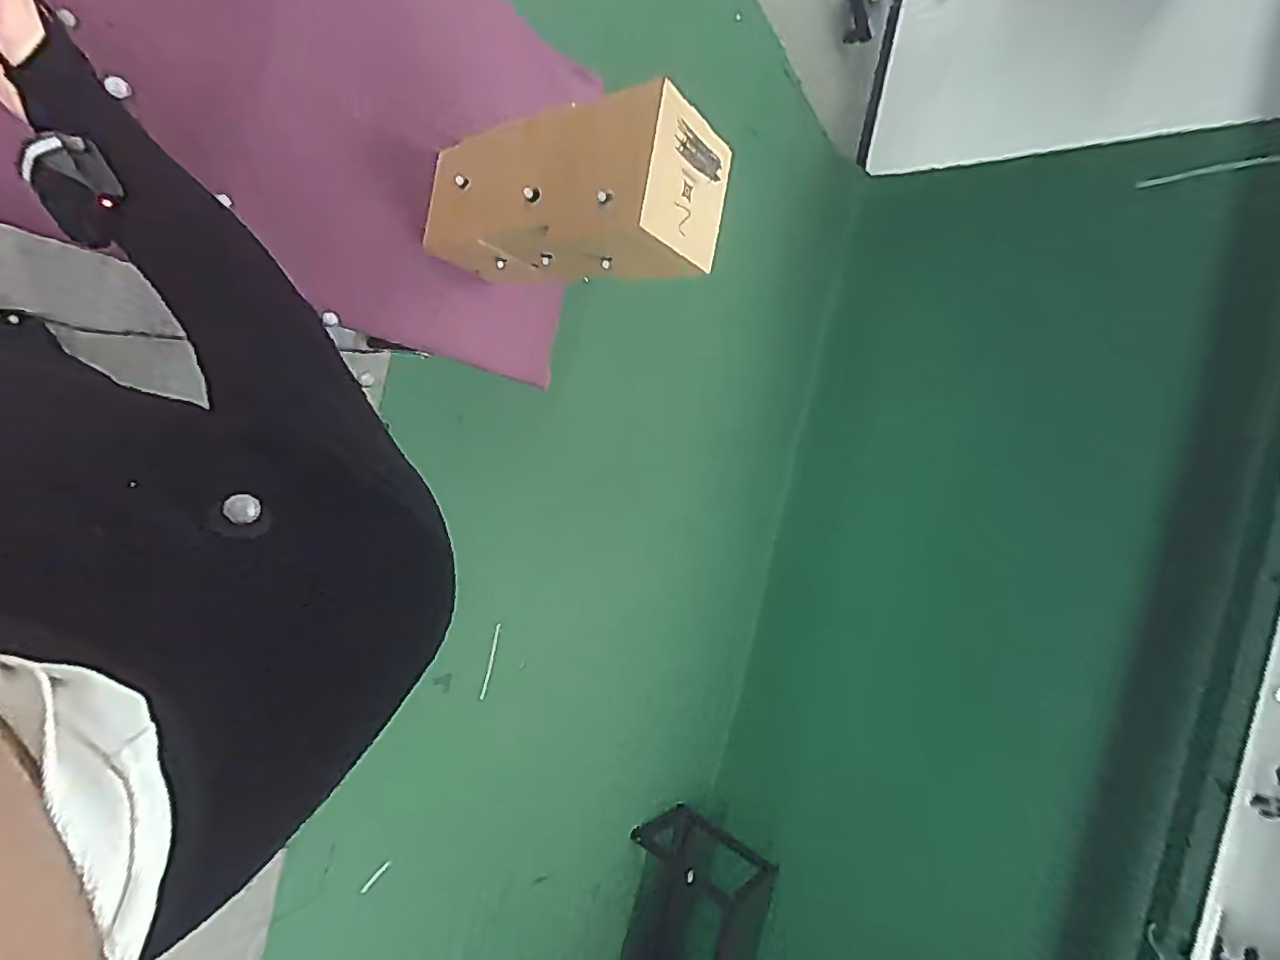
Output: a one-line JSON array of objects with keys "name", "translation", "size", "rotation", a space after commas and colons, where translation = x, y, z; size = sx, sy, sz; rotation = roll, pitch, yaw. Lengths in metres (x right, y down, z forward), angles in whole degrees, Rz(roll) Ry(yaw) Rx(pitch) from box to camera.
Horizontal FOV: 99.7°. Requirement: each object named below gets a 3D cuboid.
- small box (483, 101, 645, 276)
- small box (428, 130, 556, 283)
[{"name": "small box", "translation": [-0.121, -0.433, 0.843], "size": [0.168, 0.176, 0.179], "rotation": [10, 91, -52]}, {"name": "small box", "translation": [-0.248, -0.461, 0.945], "size": [0.168, 0.176, 0.179], "rotation": [8, 93, -51]}]
